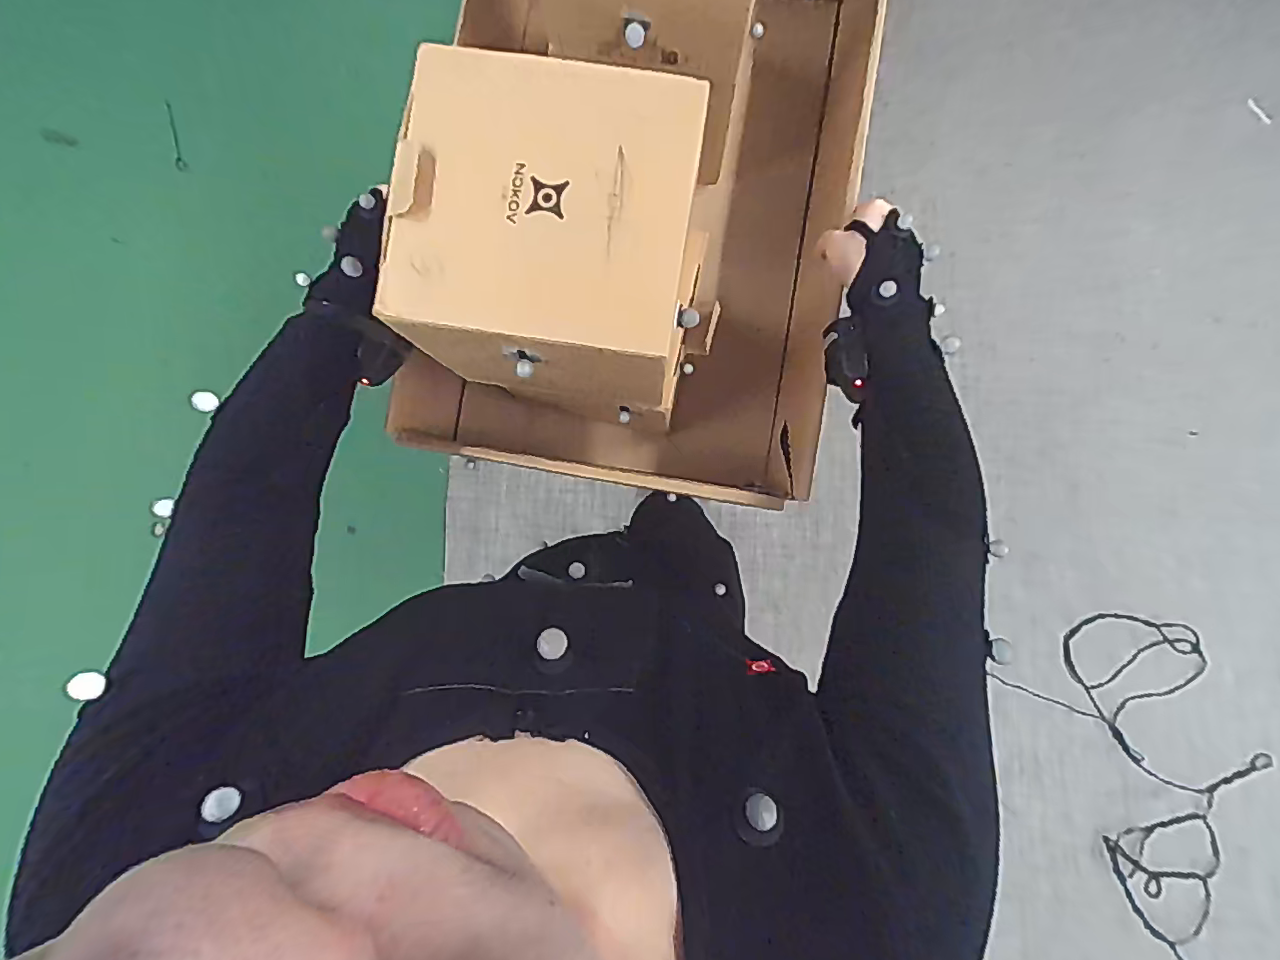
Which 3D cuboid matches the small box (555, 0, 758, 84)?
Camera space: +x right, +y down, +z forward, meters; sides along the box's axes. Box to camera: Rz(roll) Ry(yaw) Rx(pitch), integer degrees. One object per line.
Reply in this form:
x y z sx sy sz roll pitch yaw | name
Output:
0.020 -0.449 0.401 0.168 0.176 0.179 9 91 2 | small box

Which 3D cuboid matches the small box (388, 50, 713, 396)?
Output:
-0.052 -0.164 0.401 0.179 0.176 0.168 8 89 0 | small box
